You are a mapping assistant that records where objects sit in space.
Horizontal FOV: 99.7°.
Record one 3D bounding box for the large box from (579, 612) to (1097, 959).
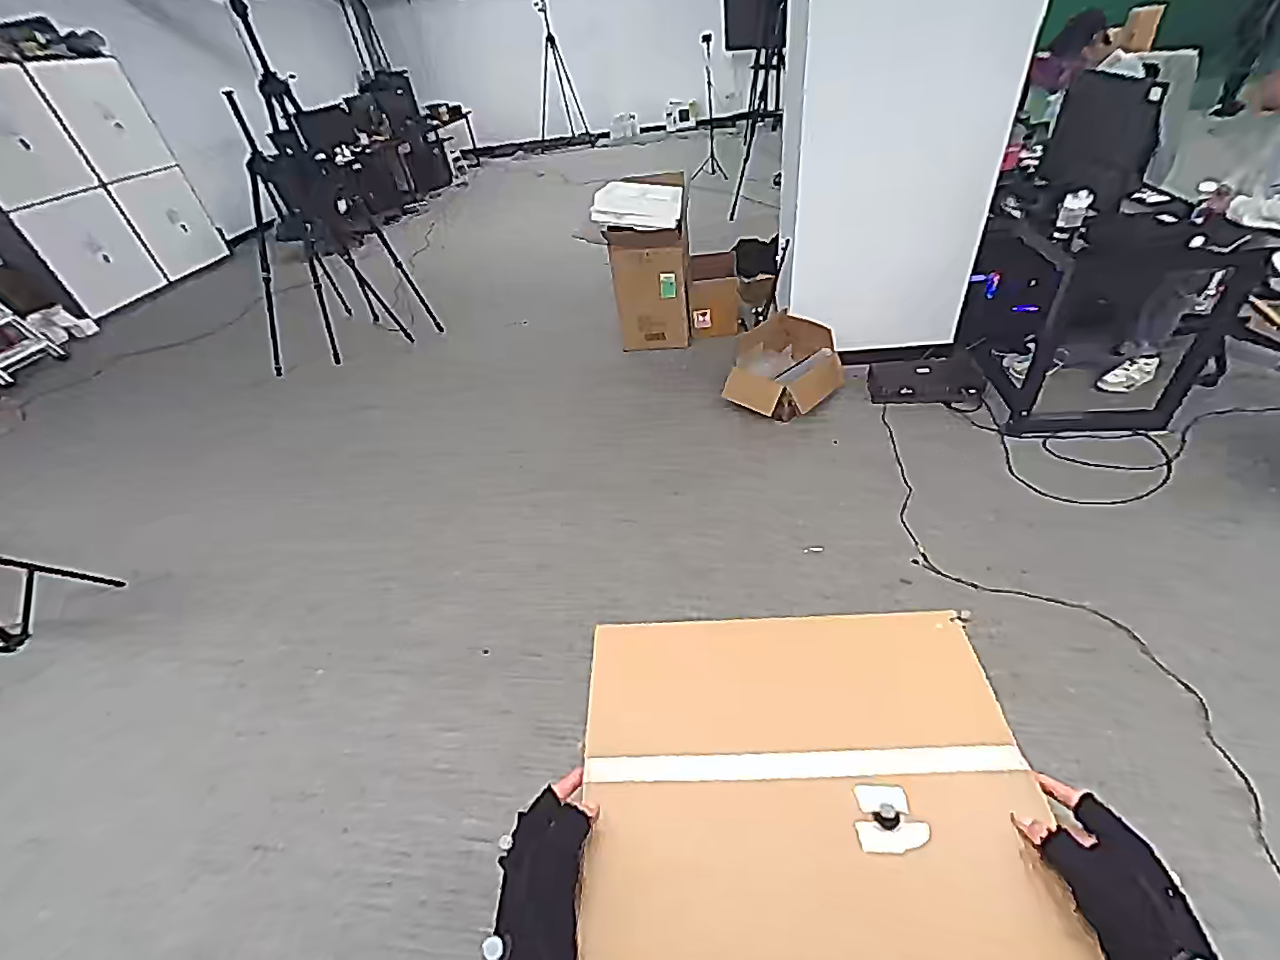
[{"bbox_3d":[0.160,0.377,0.624,0.408,0.320,0.320,-4,45,5],"label":"large box"}]
